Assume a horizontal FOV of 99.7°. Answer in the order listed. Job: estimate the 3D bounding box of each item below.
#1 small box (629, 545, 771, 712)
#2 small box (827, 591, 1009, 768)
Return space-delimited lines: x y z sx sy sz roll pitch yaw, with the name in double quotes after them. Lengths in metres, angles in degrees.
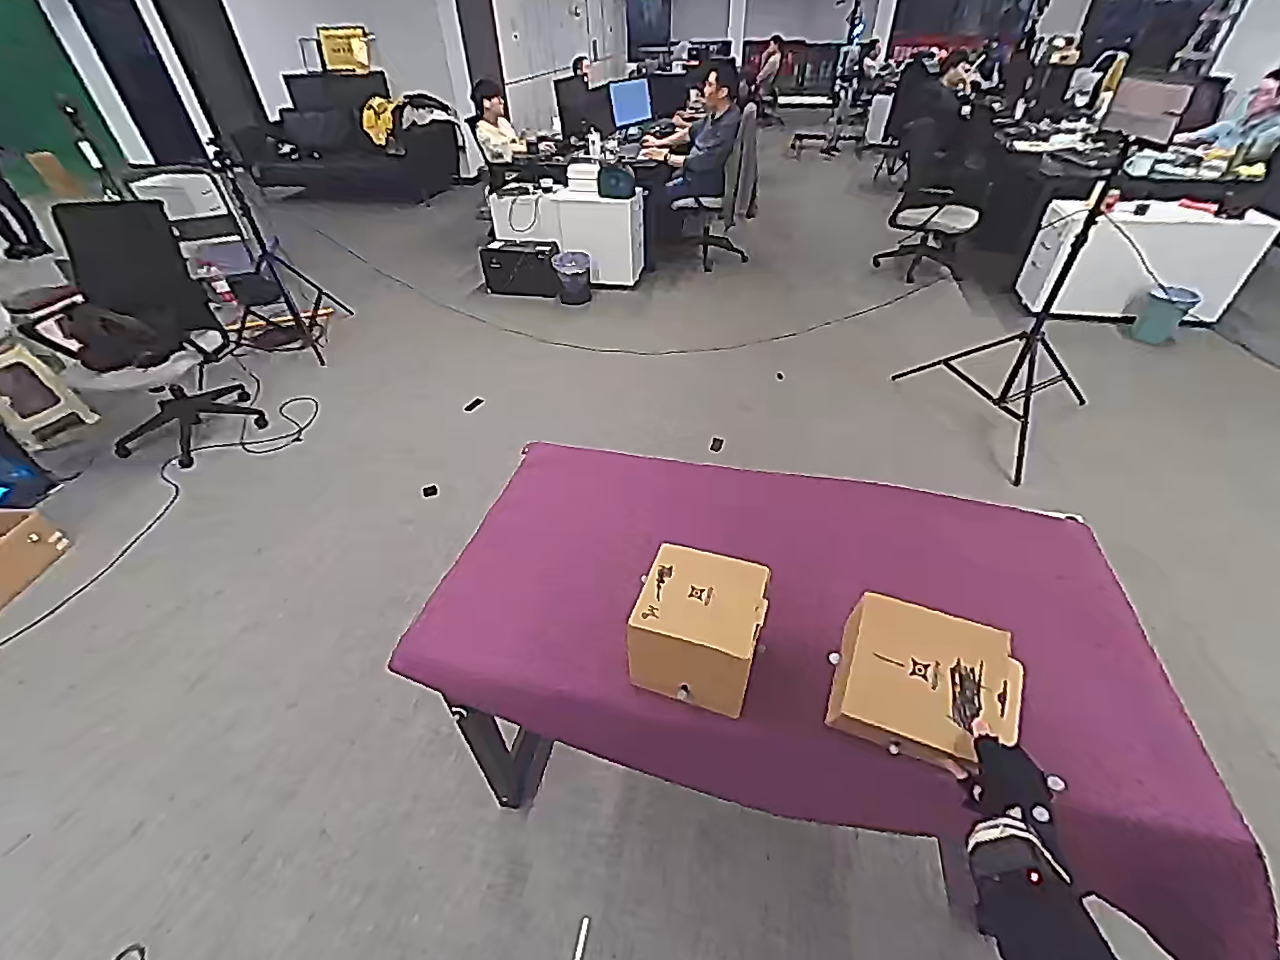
0.093 0.233 0.843 0.179 0.176 0.168 13 42 15 "small box"
0.370 0.277 0.742 0.179 0.176 0.168 14 64 19 "small box"
